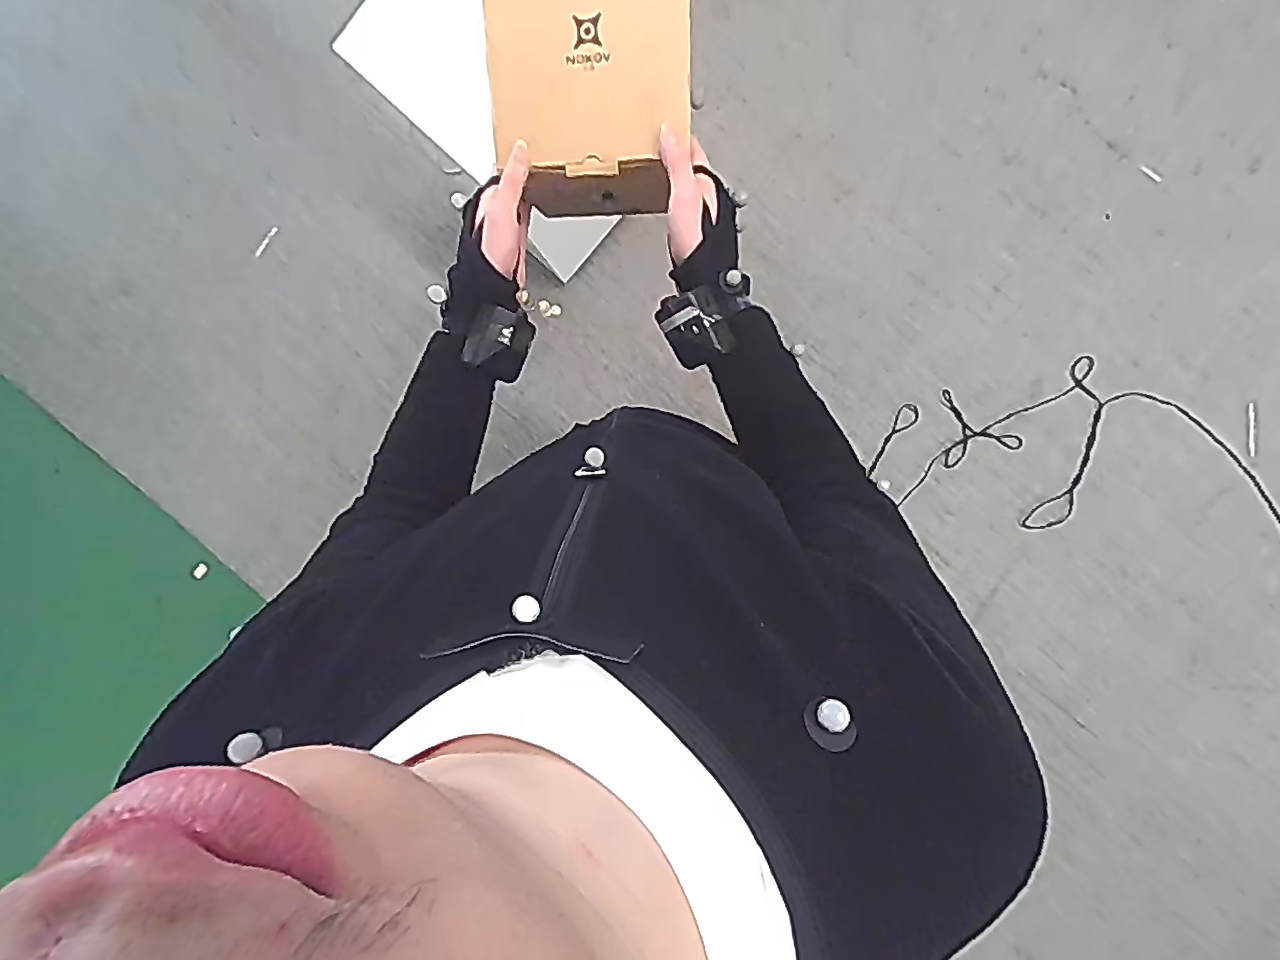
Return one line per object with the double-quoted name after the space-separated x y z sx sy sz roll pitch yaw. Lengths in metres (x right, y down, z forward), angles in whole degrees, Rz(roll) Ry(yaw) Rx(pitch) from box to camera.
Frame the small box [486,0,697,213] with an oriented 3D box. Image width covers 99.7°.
-0.032 -0.364 0.511 0.168 0.176 0.179 -2 103 6 "small box"
